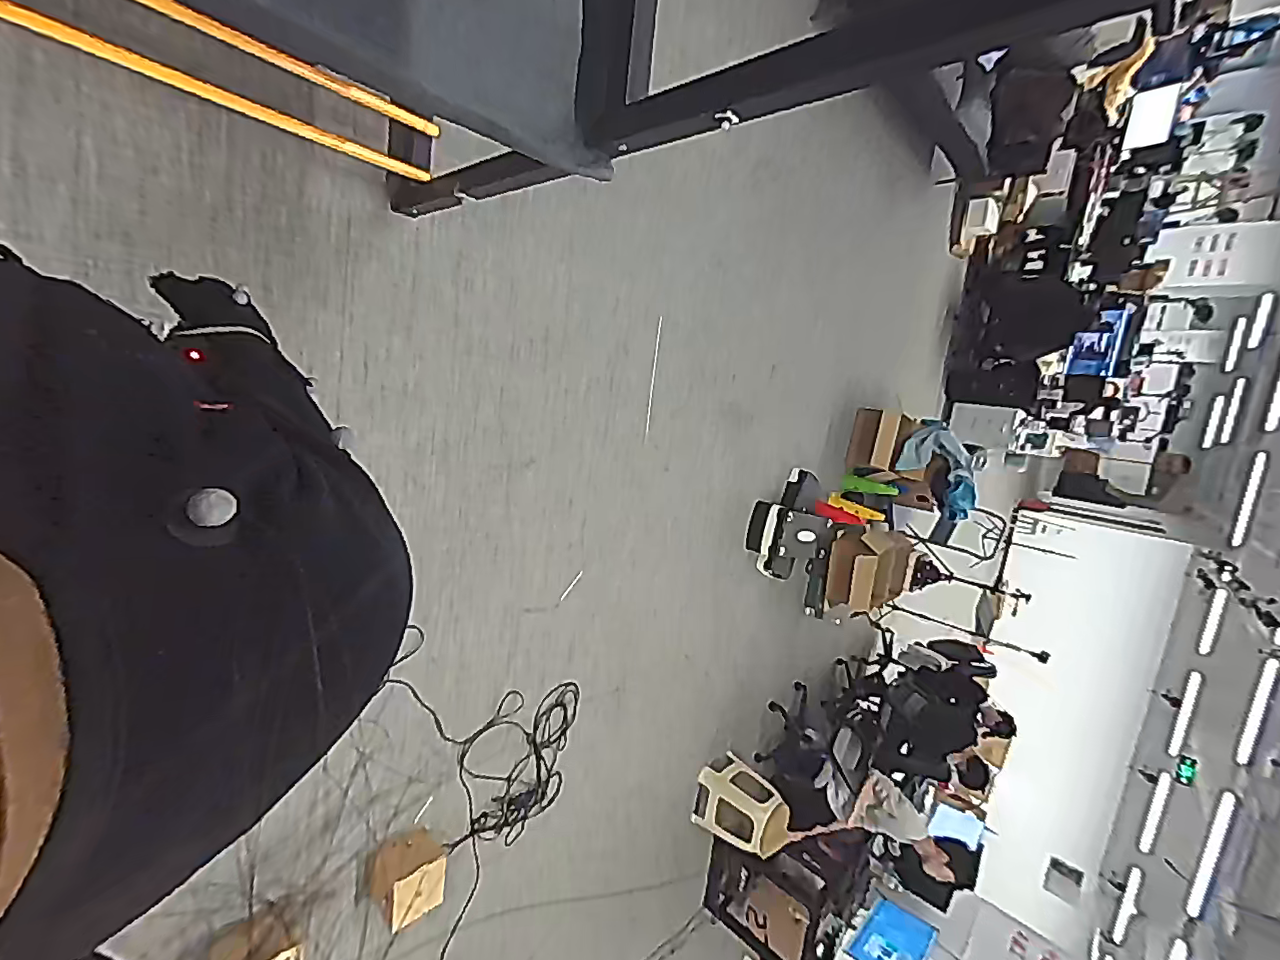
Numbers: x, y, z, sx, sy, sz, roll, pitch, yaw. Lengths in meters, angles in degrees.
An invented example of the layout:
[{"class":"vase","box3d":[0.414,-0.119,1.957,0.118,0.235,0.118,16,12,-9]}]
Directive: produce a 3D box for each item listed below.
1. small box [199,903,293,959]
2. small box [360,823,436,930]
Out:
[{"class":"small box","box3d":[-1.040,1.265,1.416,0.168,0.176,0.179,5,98,-49]},{"class":"small box","box3d":[-0.771,1.249,1.717,0.168,0.176,0.179,-3,103,-48]}]
